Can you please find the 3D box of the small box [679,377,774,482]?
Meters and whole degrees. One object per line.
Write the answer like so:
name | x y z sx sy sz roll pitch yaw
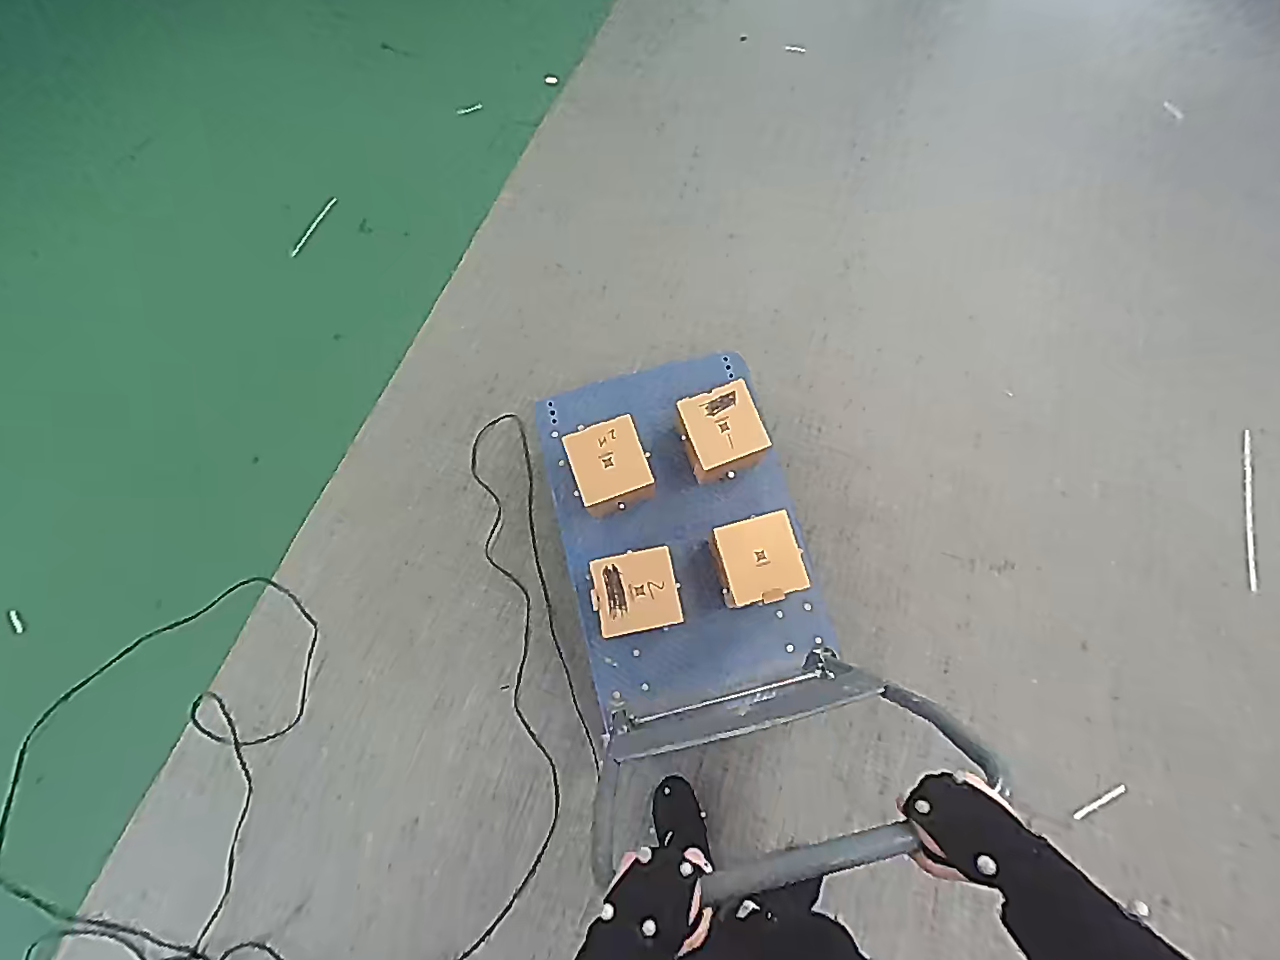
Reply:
small box | 0.197 -0.114 1.294 0.168 0.176 0.179 -20 78 -2

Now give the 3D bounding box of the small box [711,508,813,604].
small box | 0.267 0.178 1.228 0.168 0.176 0.179 -15 78 -1

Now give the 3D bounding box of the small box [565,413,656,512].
small box | -0.064 -0.032 1.286 0.168 0.176 0.179 -19 77 -3
